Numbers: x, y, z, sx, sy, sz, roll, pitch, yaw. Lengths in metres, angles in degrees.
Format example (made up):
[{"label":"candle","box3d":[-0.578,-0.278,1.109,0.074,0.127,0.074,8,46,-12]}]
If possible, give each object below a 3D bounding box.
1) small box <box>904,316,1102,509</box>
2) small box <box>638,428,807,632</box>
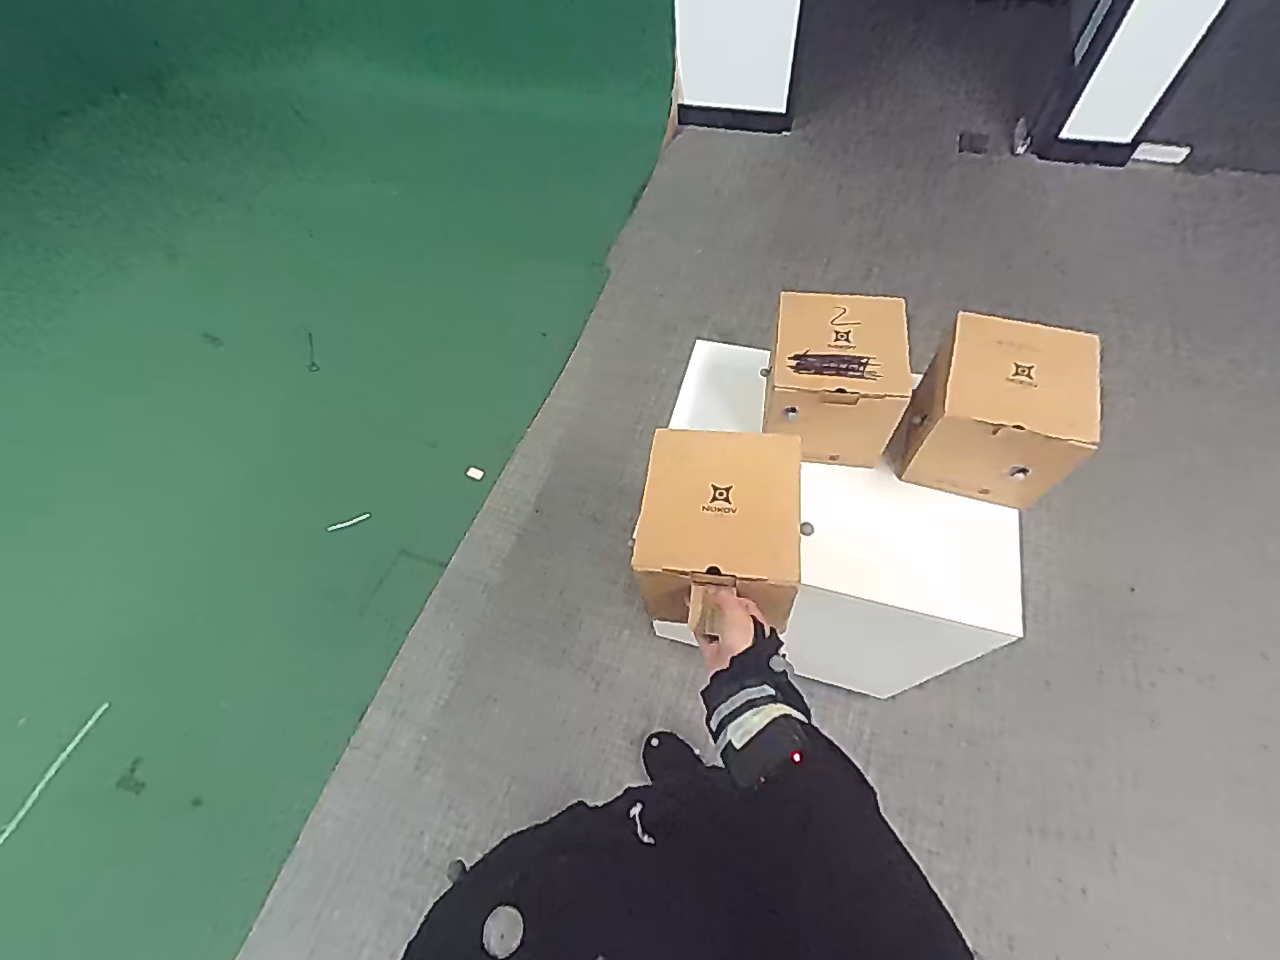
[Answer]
[{"label":"small box","box3d":[0.472,-0.084,0.723,0.168,0.176,0.179,16,63,13]},{"label":"small box","box3d":[0.099,0.061,0.634,0.168,0.176,0.179,4,59,10]}]
